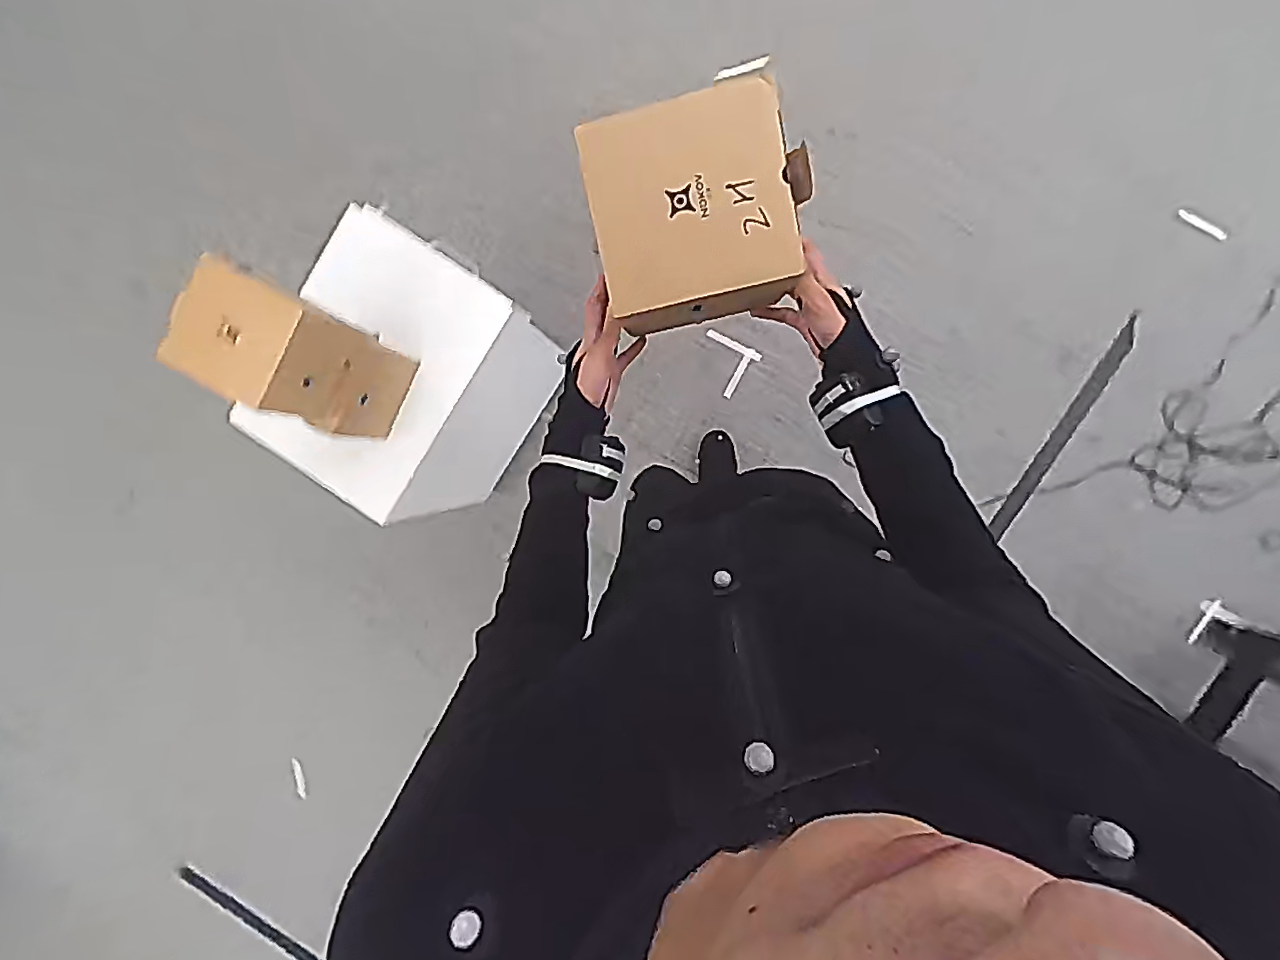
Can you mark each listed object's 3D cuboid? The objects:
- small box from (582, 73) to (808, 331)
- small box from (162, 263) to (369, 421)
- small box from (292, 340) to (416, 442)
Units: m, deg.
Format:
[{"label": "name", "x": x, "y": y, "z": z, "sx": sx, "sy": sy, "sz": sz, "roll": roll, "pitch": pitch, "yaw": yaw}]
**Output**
[{"label": "small box", "x": 0.055, "y": -0.257, "z": 0.548, "sx": 0.179, "sy": 0.176, "sz": 0.168, "roll": -11, "pitch": 98, "yaw": 6}, {"label": "small box", "x": -0.567, "y": -0.201, "z": 0.844, "sx": 0.179, "sy": 0.176, "sz": 0.168, "roll": 28, "pitch": 94, "yaw": 4}, {"label": "small box", "x": -0.551, "y": -0.180, "z": 1.006, "sx": 0.168, "sy": 0.176, "sz": 0.179, "roll": 25, "pitch": 94, "yaw": 4}]
